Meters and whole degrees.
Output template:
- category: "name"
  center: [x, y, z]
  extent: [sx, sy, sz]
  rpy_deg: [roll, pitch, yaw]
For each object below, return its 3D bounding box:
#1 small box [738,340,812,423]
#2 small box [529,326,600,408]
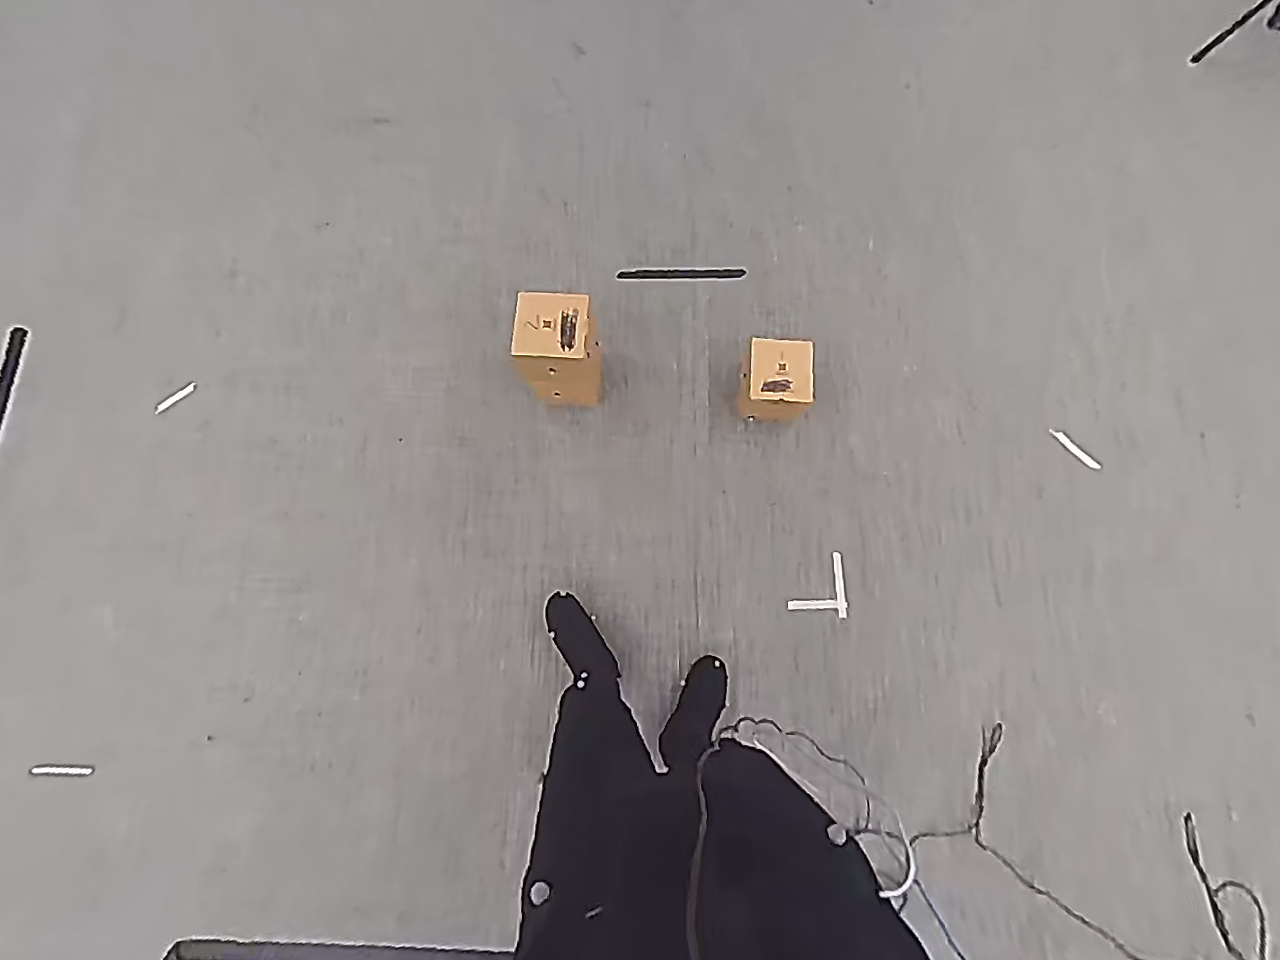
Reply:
- category: "small box"
  center: [0.368, -0.265, 1.495]
  extent: [0.168, 0.176, 0.179]
  rpy_deg: [4, 77, 1]
- category: "small box"
  center: [-0.204, -0.309, 1.512]
  extent: [0.168, 0.176, 0.179]
  rpy_deg: [2, 77, 2]
